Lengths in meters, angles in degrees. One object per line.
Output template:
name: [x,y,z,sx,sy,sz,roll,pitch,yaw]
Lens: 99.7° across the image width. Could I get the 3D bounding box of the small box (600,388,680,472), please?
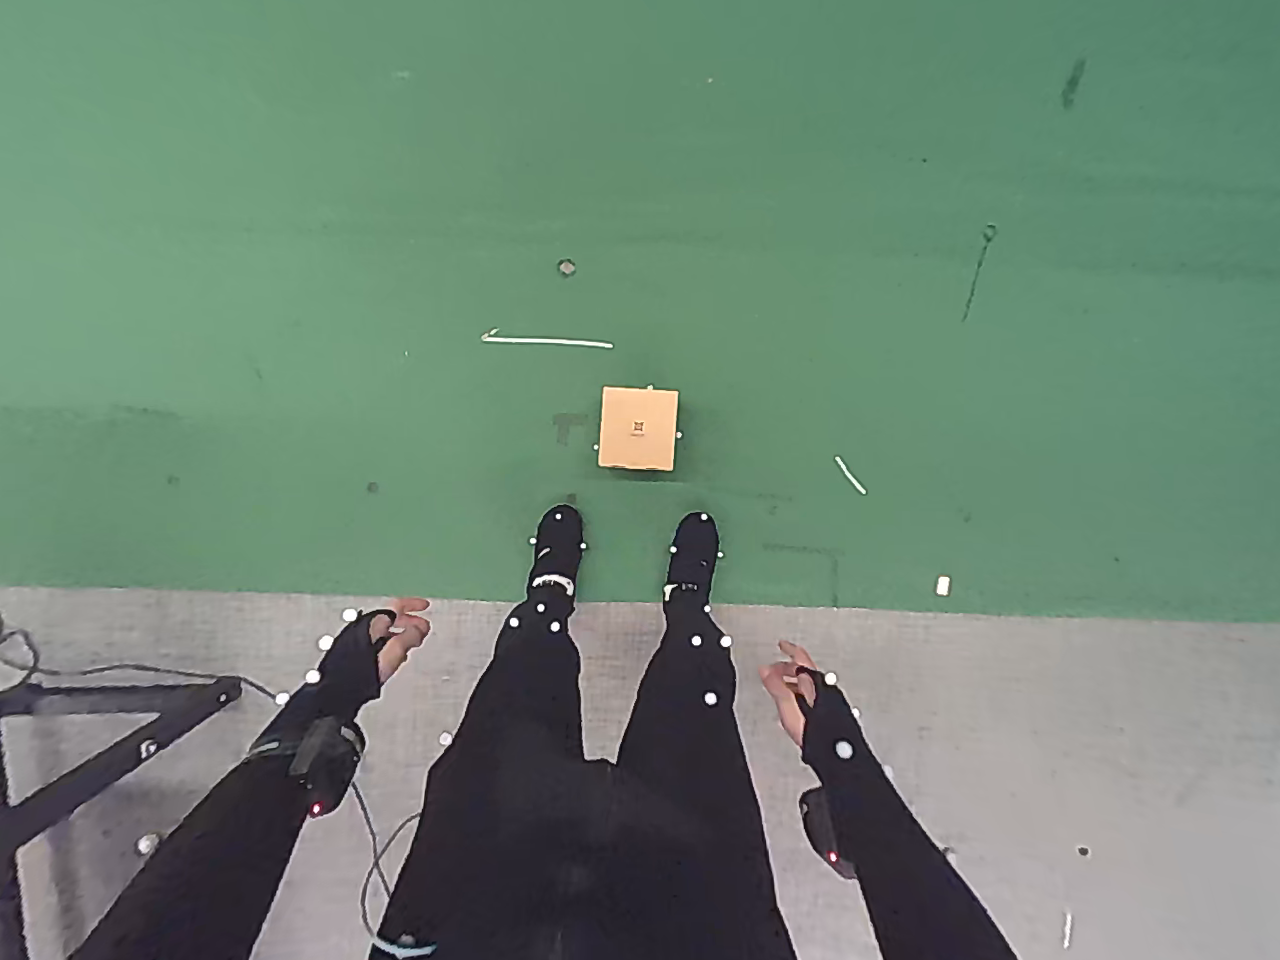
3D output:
small box: [-0.002,-0.116,1.259,0.168,0.176,0.179,4,96,-1]
